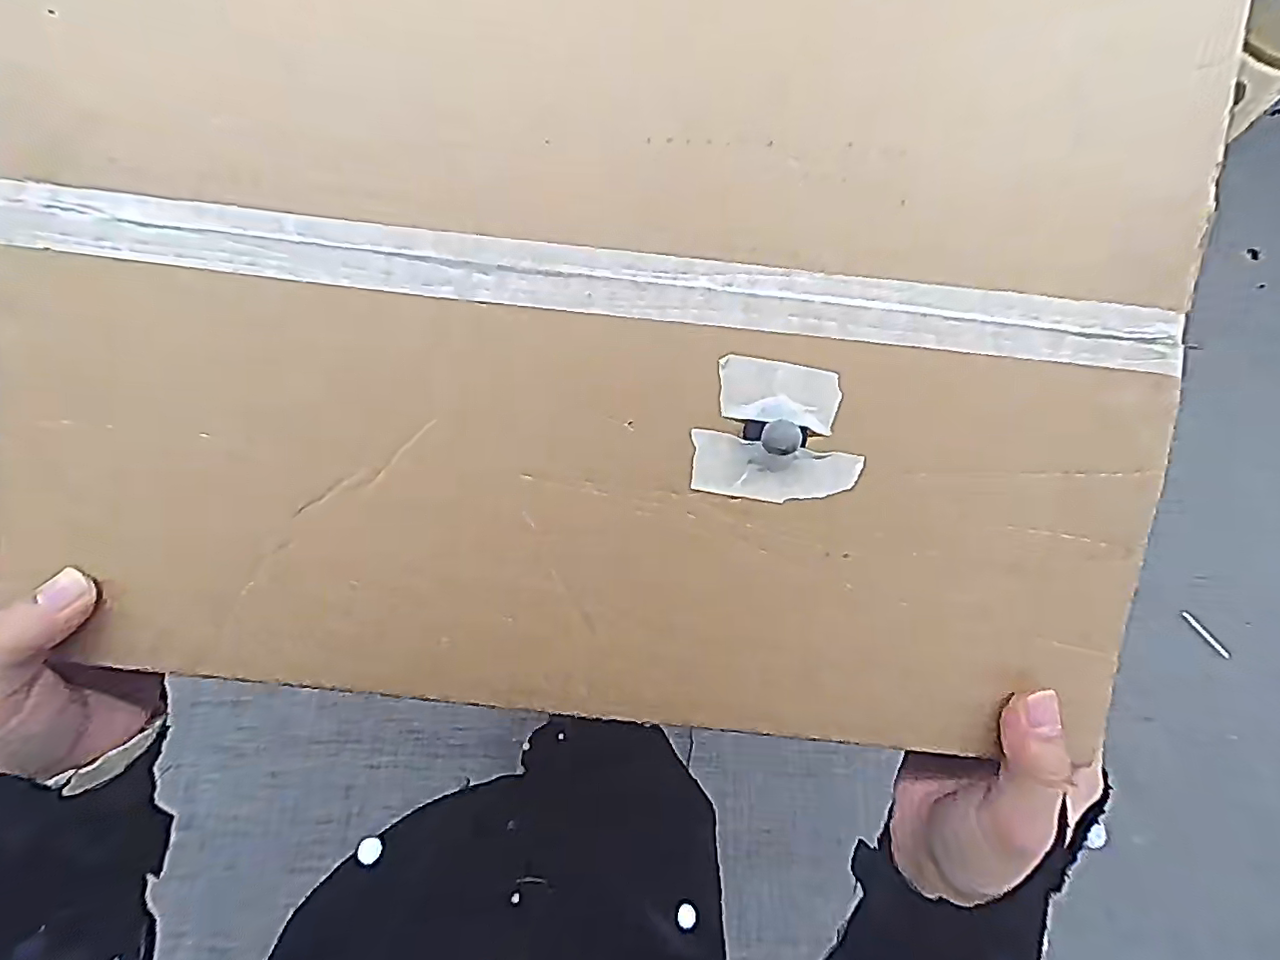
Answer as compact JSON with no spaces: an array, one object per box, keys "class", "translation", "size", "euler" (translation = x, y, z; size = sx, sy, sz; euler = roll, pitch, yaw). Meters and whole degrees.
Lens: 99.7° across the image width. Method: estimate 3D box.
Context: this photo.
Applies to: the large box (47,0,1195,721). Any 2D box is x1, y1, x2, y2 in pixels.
[{"class":"large box","translation":[-0.015,-0.083,0.347],"size":[0.408,0.320,0.320],"euler":[6,96,-2]}]
